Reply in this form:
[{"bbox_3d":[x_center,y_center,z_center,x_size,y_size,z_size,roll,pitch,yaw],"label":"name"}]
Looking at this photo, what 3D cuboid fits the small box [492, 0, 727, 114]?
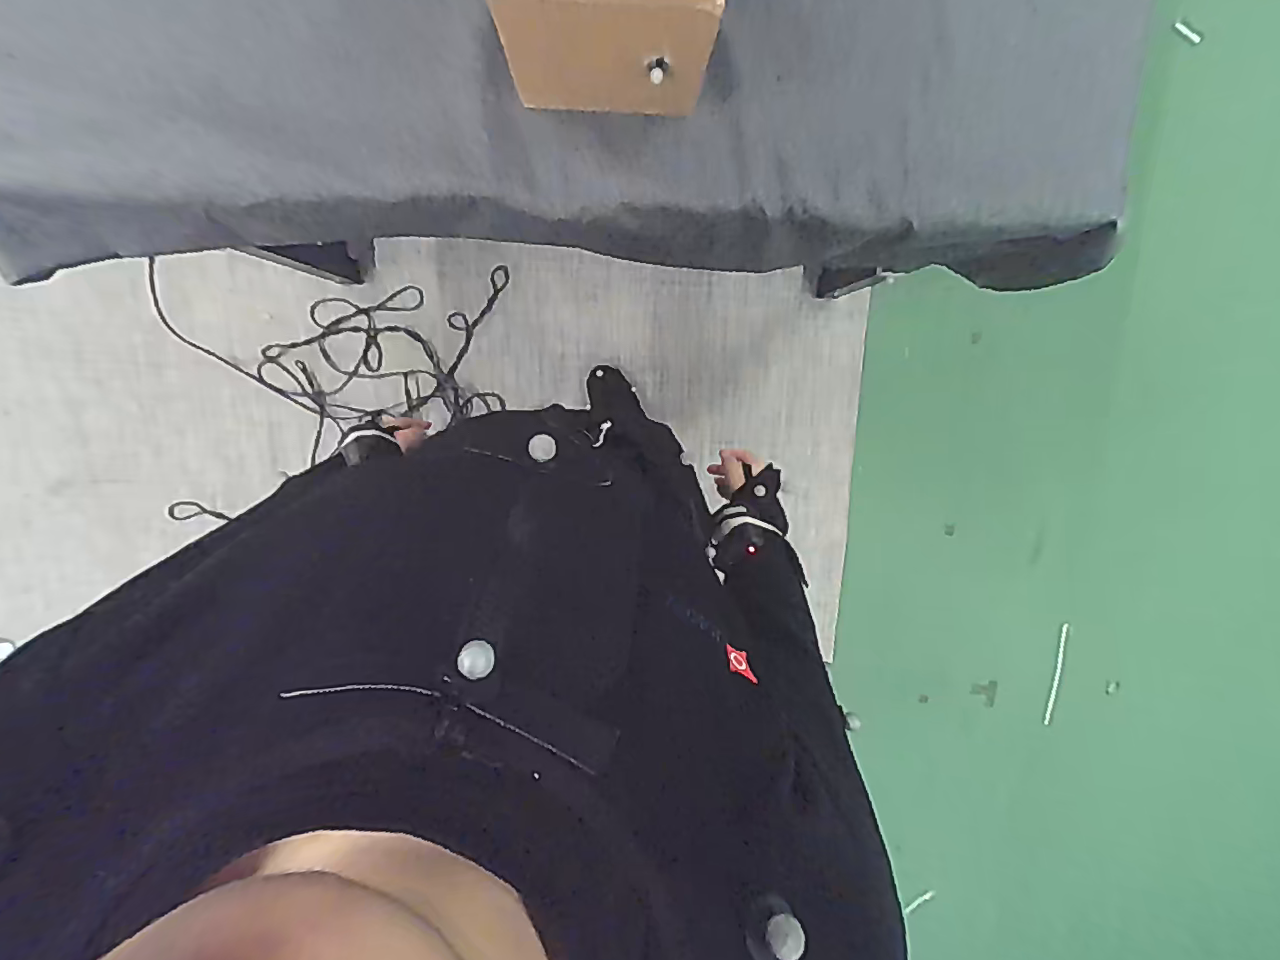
[{"bbox_3d":[-0.025,-0.442,0.460,0.179,0.176,0.168,0,99,-2],"label":"small box"}]
